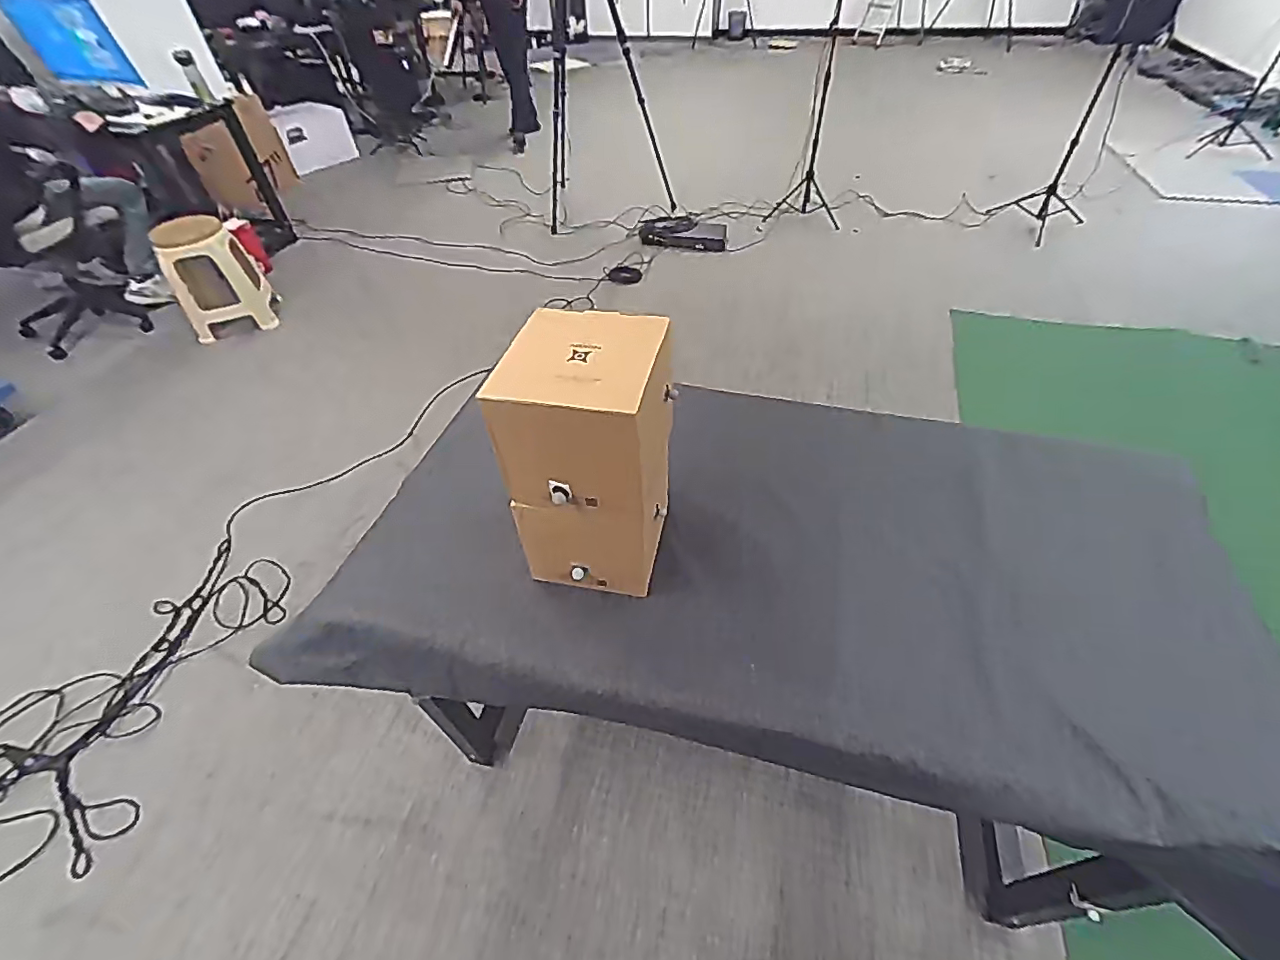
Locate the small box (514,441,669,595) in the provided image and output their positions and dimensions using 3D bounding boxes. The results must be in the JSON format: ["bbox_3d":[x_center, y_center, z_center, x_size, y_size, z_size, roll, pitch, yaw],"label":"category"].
[{"bbox_3d":[-0.055,0.032,0.752,0.168,0.176,0.179,7,48,10],"label":"small box"}]

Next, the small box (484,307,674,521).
[{"bbox_3d":[-0.056,-0.079,0.634,0.168,0.176,0.179,7,48,11],"label":"small box"}]
